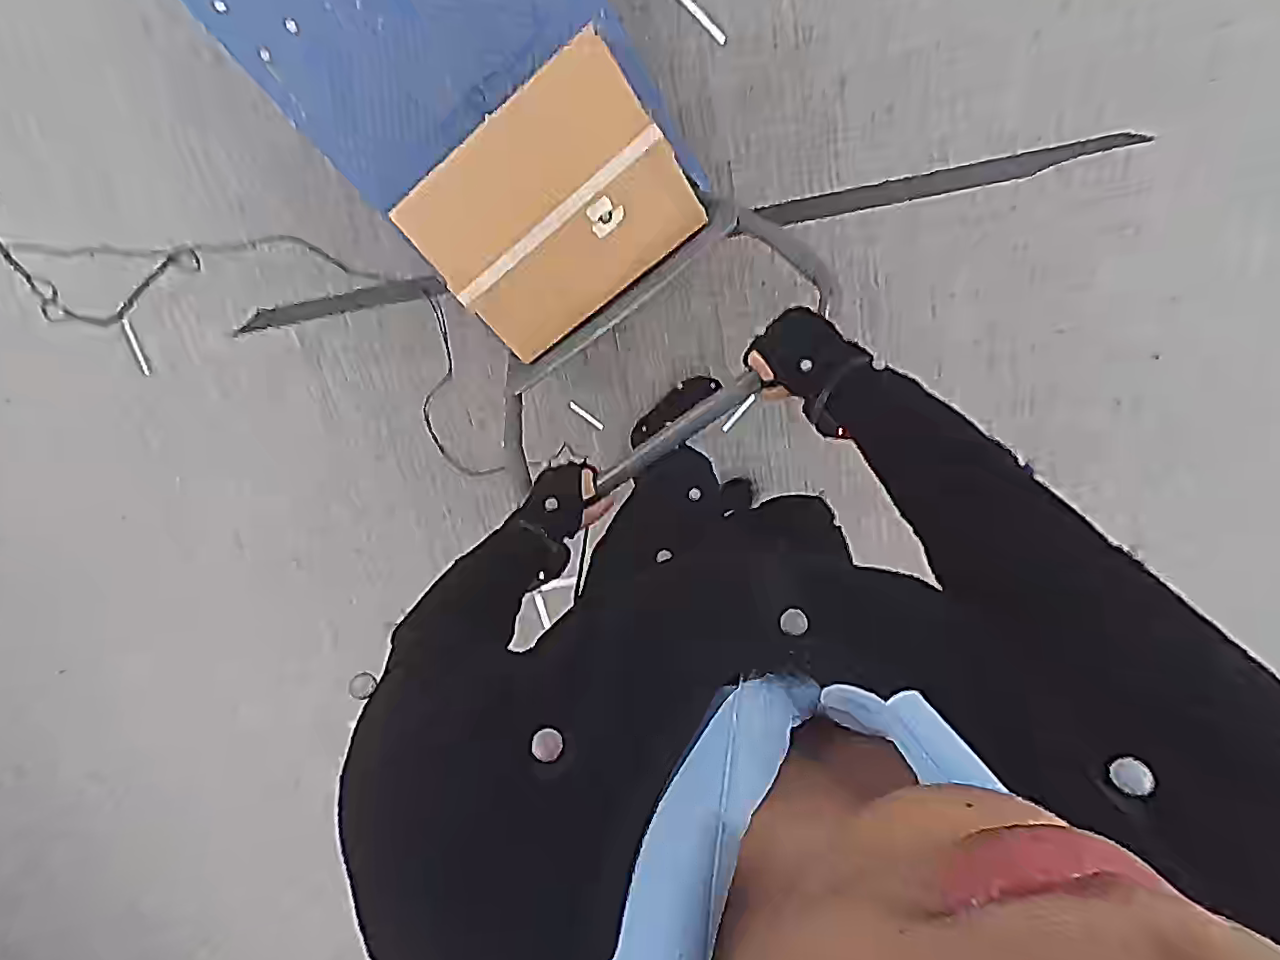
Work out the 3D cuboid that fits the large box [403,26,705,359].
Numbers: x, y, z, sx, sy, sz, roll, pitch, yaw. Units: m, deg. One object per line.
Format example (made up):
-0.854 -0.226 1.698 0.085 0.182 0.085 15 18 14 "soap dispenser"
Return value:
-0.154 -0.505 1.001 0.408 0.320 0.320 -36 121 12 "large box"
